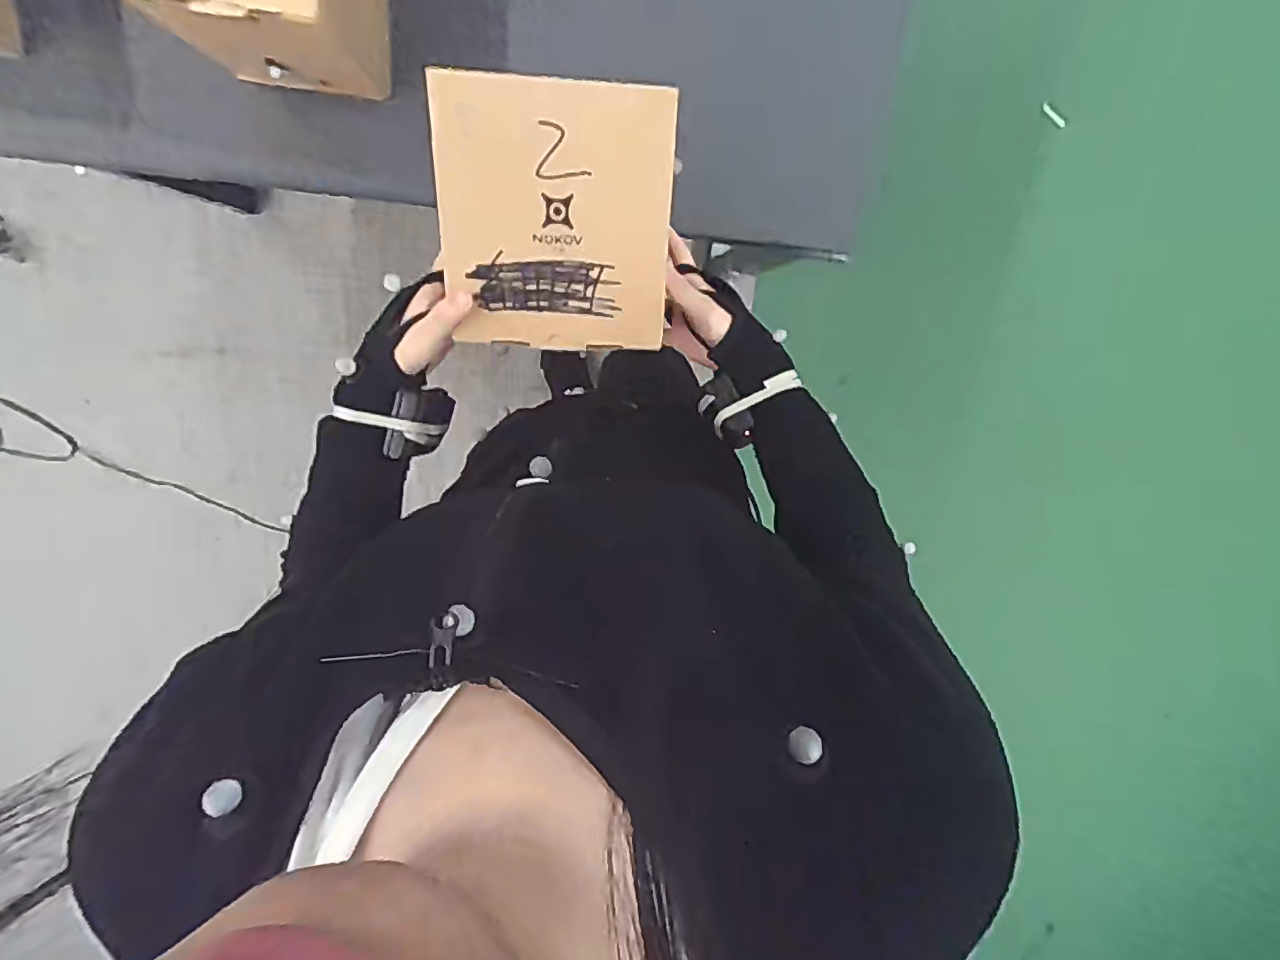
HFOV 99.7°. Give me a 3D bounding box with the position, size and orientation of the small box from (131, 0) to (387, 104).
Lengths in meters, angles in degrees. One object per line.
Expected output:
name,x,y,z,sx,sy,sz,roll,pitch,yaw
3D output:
small box,-0.349,-0.492,0.503,0.168,0.176,0.179,4,106,-7
